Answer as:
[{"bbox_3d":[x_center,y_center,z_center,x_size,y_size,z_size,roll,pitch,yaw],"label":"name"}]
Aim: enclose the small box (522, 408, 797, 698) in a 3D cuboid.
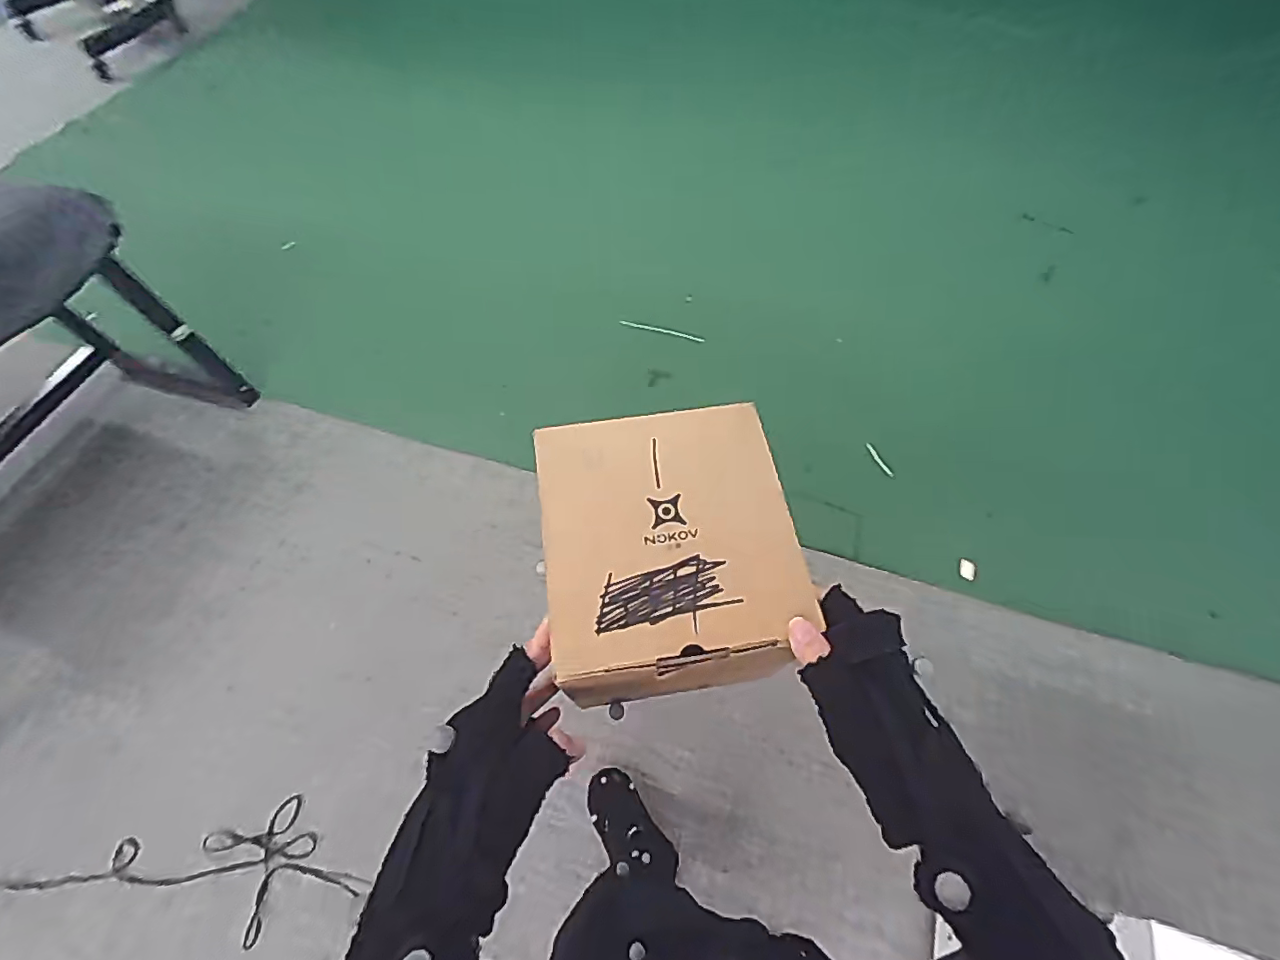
[{"bbox_3d":[0.006,0.069,0.435,0.168,0.176,0.179,-8,61,-5],"label":"small box"}]
